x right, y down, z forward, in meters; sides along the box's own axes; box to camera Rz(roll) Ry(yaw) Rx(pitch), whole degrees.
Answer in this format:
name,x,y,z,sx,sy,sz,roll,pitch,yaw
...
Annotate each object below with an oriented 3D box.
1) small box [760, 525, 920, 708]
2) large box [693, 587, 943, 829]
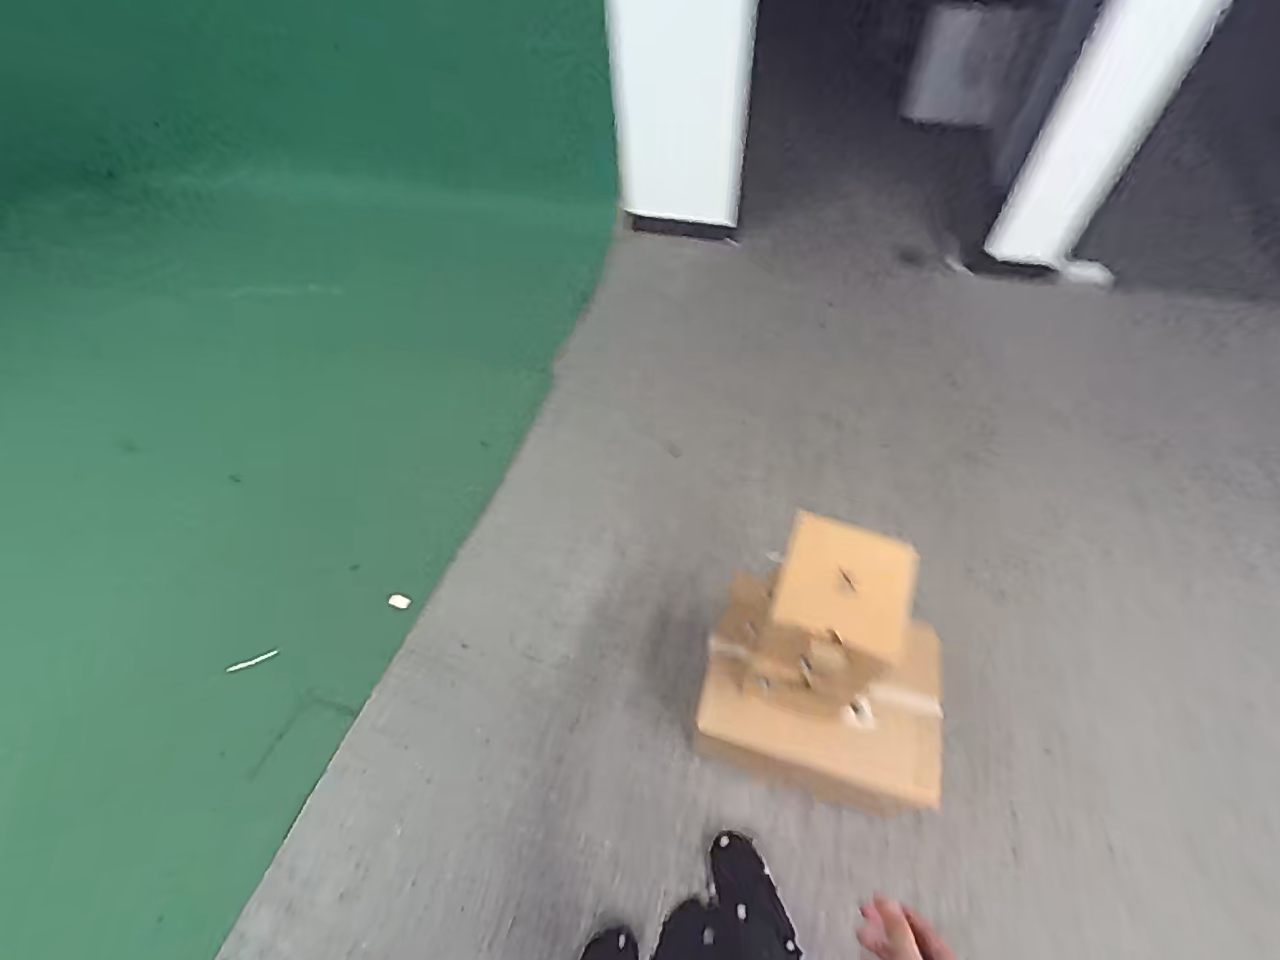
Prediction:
name,x,y,z,sx,sy,sz,roll,pitch,yaw
small box,0.284,0.201,0.789,0.168,0.176,0.179,18,57,16
large box,0.340,0.463,1.099,0.408,0.320,0.320,14,57,12
